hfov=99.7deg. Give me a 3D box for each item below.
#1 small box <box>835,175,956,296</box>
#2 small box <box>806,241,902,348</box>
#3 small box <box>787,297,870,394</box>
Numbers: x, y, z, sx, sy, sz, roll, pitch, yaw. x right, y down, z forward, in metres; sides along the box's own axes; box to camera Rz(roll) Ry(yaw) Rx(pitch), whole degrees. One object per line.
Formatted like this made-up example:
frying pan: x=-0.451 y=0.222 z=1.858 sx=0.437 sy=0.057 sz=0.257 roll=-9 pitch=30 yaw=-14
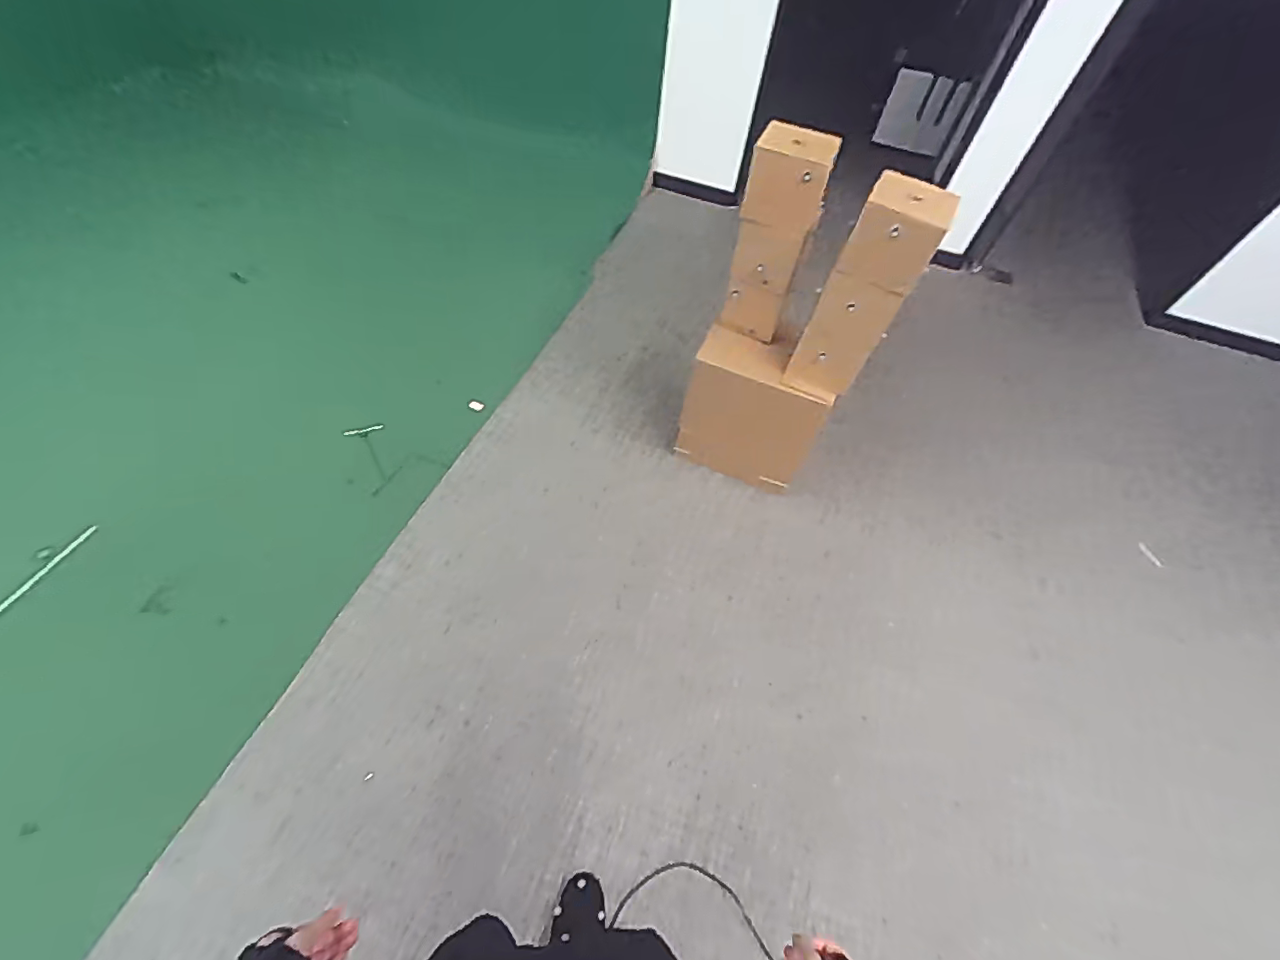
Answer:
small box: x=0.566 y=-0.544 z=1.214 sx=0.179 sy=0.176 sz=0.168 roll=27 pitch=57 yaw=11
small box: x=0.543 y=-0.457 z=1.350 sx=0.179 sy=0.176 sz=0.168 roll=24 pitch=56 yaw=11
small box: x=0.524 y=-0.364 z=1.483 sx=0.179 sy=0.176 sz=0.168 roll=23 pitch=58 yaw=11
